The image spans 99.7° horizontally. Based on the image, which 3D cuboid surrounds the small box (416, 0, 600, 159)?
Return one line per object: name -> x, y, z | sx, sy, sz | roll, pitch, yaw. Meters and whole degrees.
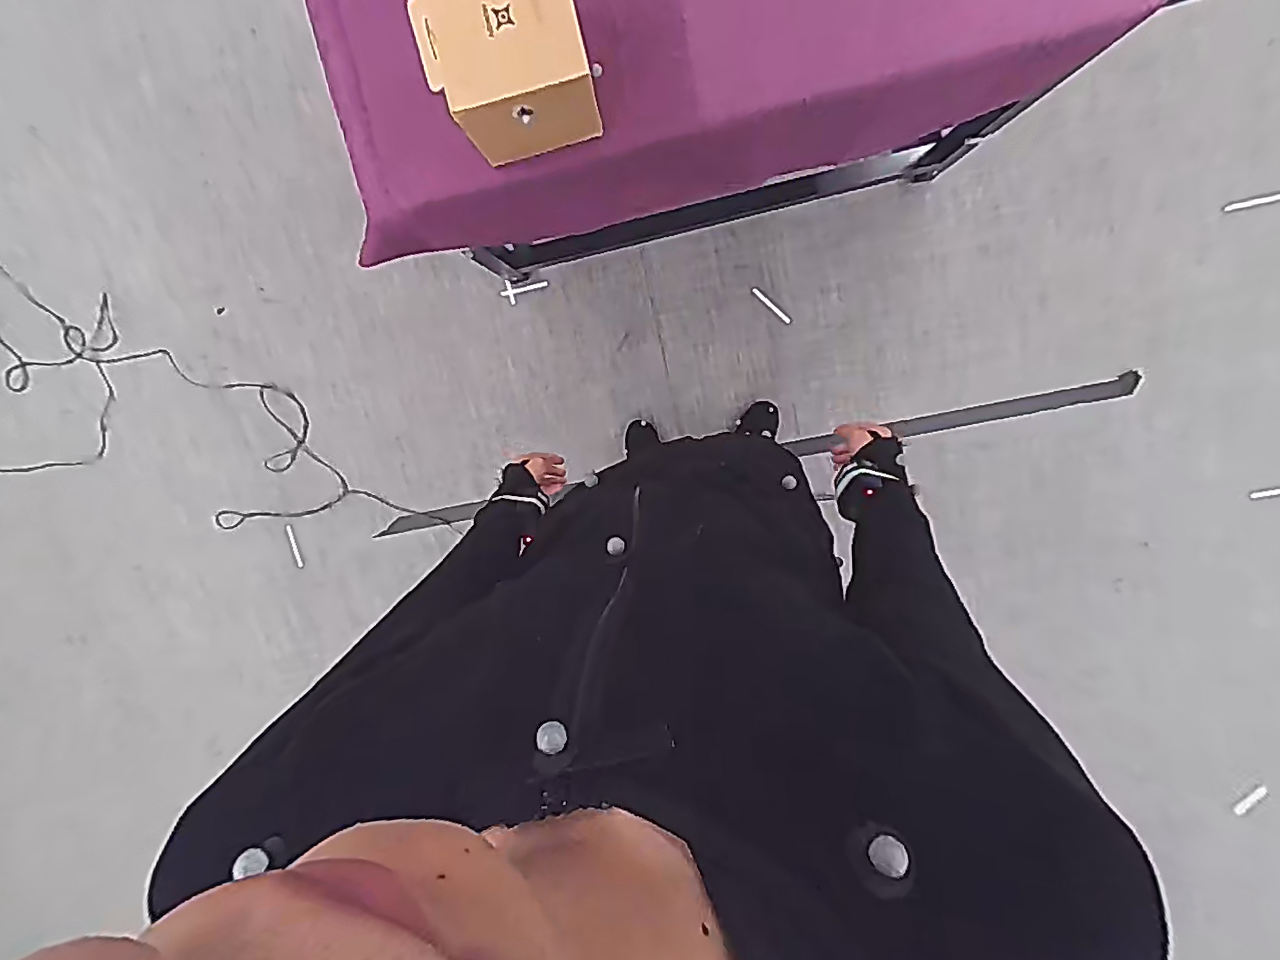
small box -> -0.161, -0.548, 0.698 | 0.179, 0.176, 0.168 | -13, 100, 4
